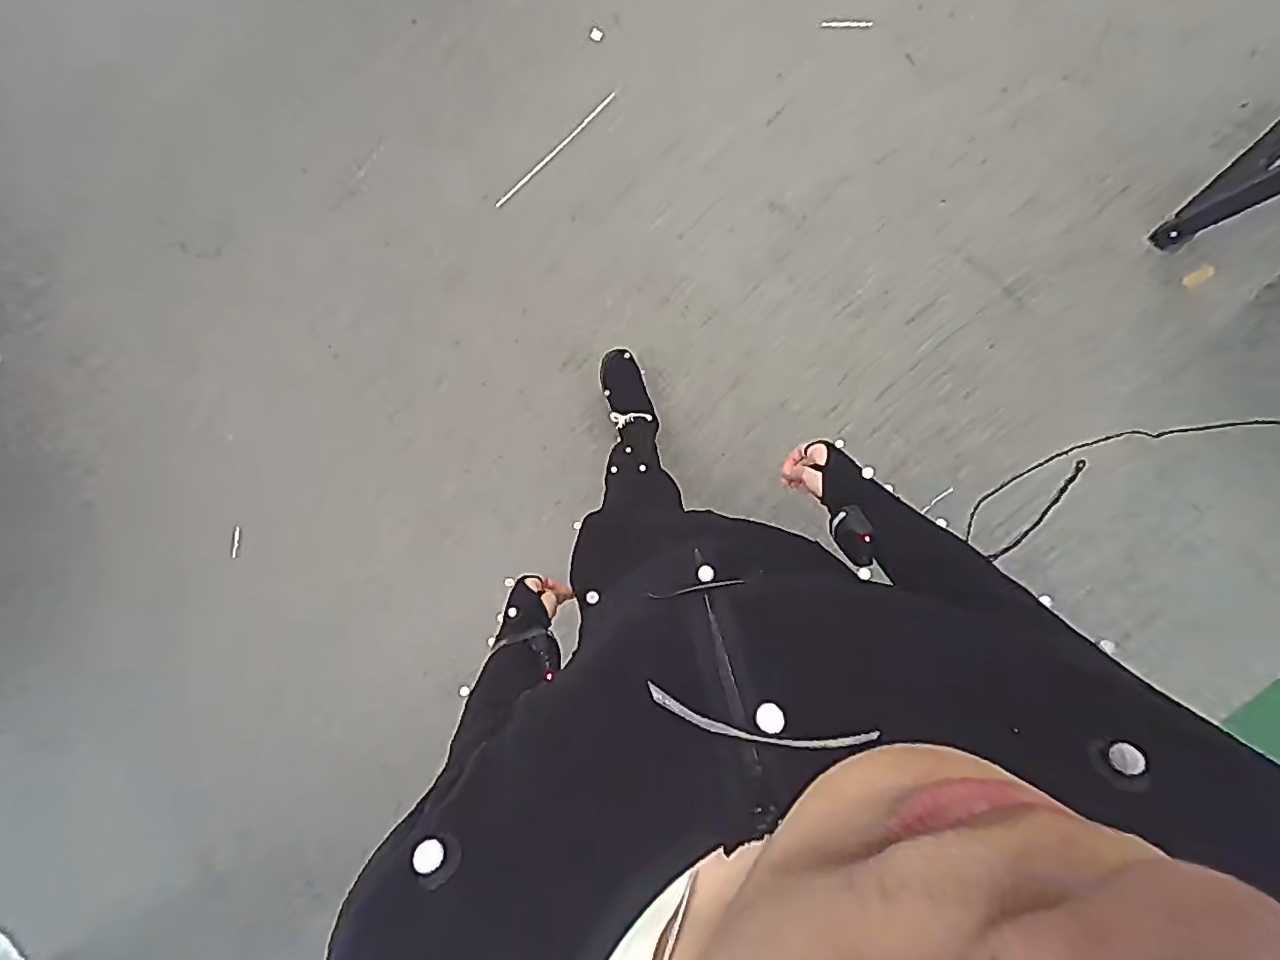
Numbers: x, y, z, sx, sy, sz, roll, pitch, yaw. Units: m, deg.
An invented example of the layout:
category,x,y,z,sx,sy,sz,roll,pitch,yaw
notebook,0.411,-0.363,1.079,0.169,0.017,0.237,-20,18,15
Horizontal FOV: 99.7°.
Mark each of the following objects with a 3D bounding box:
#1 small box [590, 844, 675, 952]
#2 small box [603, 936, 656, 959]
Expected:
category,x,y,z,sx,sy,sz,roll,pitch,yaw
small box,-0.014,1.197,1.536,0.168,0.176,0.179,-41,87,3
small box,-0.025,1.191,1.208,0.179,0.176,0.168,-43,88,4
